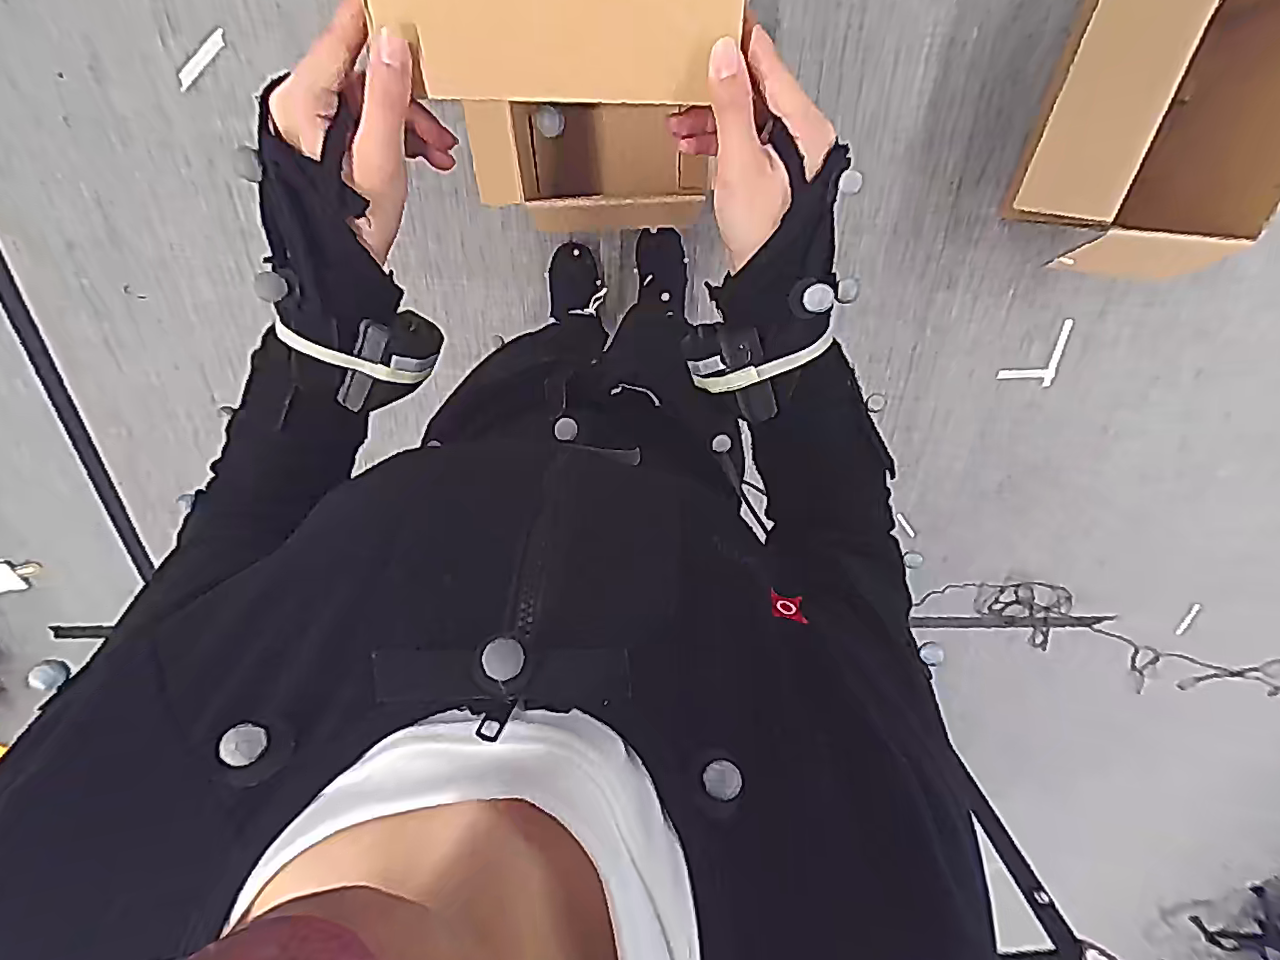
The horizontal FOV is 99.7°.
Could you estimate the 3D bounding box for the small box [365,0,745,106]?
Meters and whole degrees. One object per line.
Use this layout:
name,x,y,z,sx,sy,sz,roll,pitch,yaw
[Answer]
small box,-0.042,-0.303,0.282,0.179,0.176,0.168,-1,127,-4
